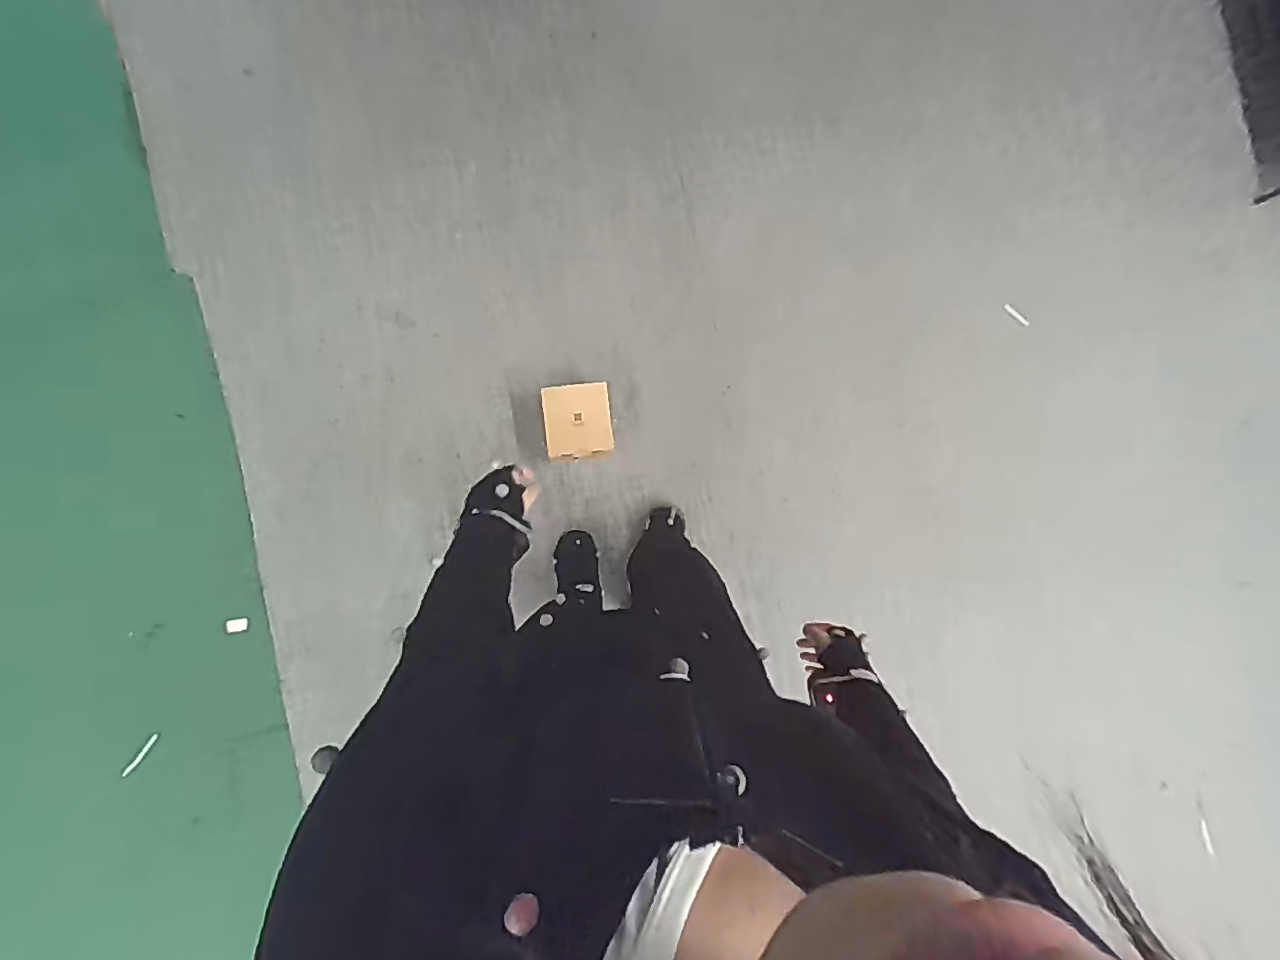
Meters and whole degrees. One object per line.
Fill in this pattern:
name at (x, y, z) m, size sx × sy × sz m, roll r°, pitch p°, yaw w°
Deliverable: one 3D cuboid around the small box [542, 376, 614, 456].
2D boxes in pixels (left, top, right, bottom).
small box at (-0.166, -0.163, 1.416) m, size 0.168 × 0.176 × 0.179 m, roll -7°, pitch 89°, yaw -8°
